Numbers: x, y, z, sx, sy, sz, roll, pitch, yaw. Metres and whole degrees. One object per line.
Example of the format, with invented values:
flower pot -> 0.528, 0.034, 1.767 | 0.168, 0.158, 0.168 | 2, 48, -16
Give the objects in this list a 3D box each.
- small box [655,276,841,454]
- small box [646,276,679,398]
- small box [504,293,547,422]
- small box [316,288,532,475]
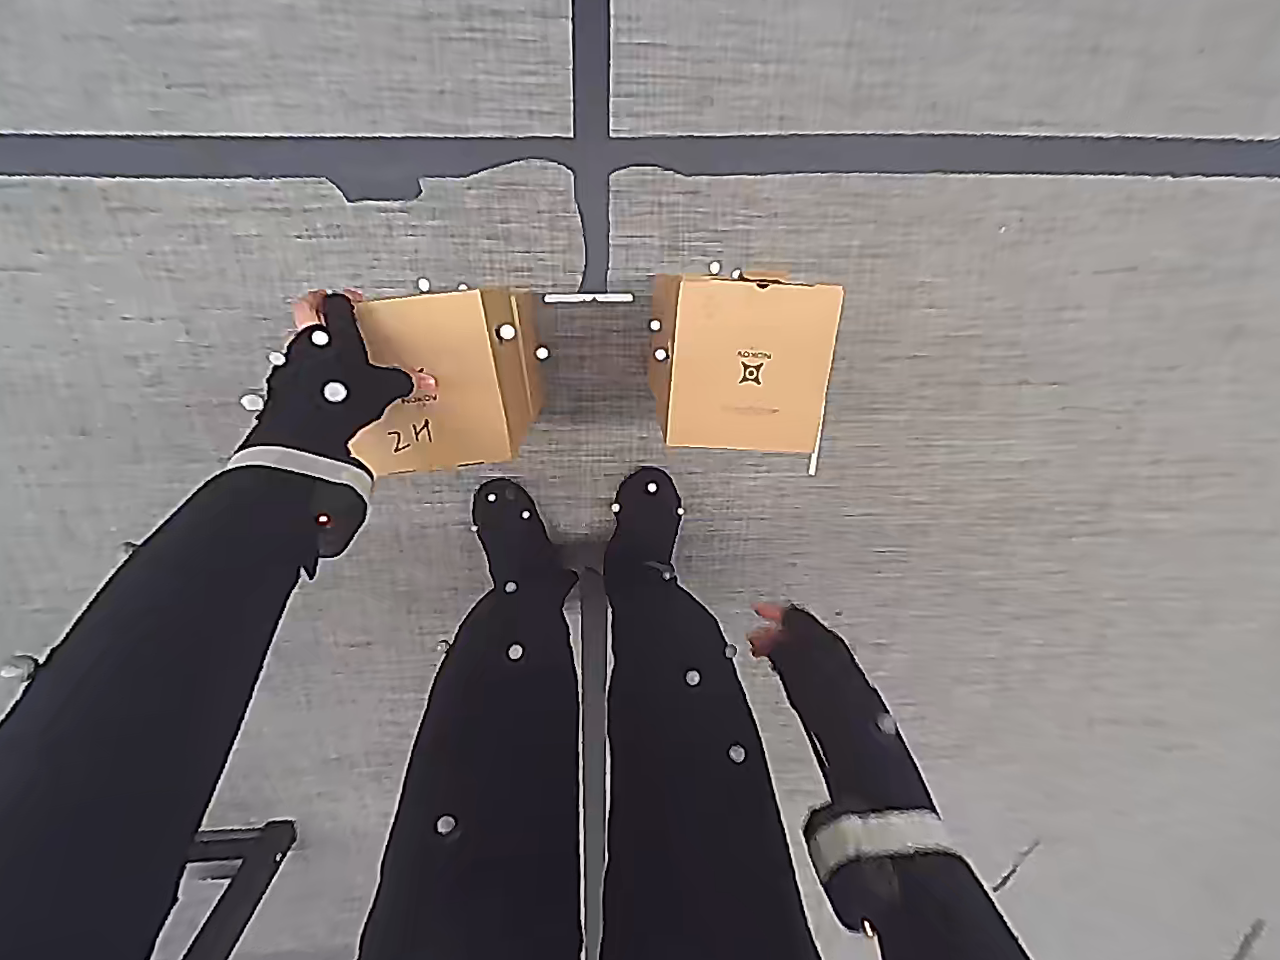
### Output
small box -> 0.110, -0.142, 0.637 | 0.168, 0.176, 0.179 | 3, 112, -4
small box -> 0.109, -0.203, 0.788 | 0.179, 0.176, 0.168 | 3, 110, -6
small box -> -0.237, -0.175, 0.774 | 0.179, 0.176, 0.168 | -5, 111, -3
small box -> -0.226, -0.122, 0.619 | 0.168, 0.176, 0.179 | -6, 111, -1
